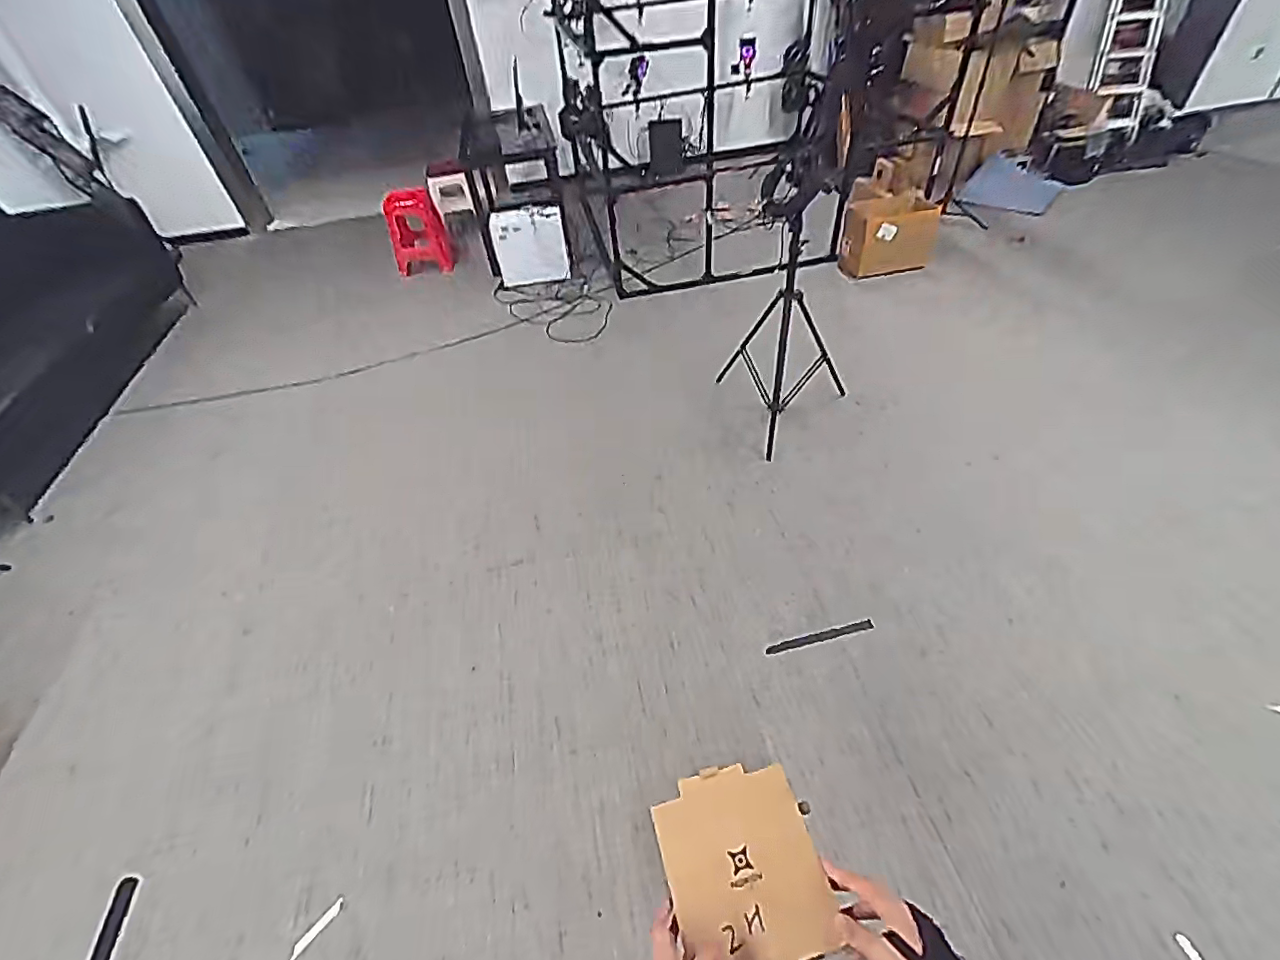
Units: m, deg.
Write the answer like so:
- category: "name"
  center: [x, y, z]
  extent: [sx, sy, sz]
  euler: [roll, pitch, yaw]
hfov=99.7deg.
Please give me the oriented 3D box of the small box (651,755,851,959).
- category: "small box"
  center: [0.123, 0.461, 0.637]
  extent: [0.168, 0.176, 0.179]
  euler: [-18, 46, -2]

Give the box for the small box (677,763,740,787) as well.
- category: "small box"
  center: [0.192, 0.829, 1.323]
  extent: [0.168, 0.176, 0.179]
  euler: [-13, 45, -4]
